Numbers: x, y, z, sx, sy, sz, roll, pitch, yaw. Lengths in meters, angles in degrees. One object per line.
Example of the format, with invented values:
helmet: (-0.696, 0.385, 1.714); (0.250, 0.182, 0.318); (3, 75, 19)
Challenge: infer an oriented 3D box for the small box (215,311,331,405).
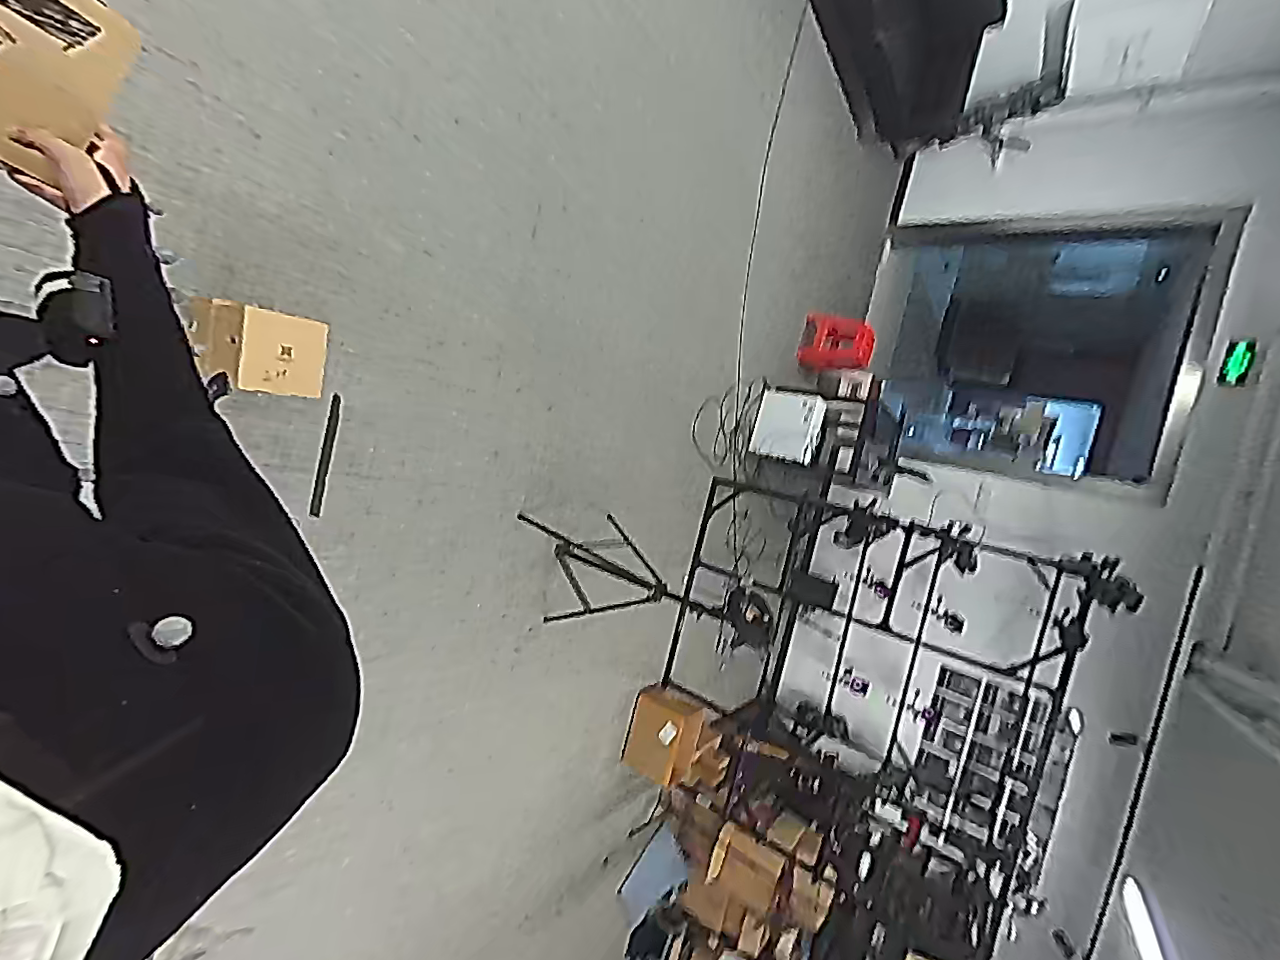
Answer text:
small box: (-0.833, -0.276, 1.226); (0.168, 0.176, 0.179); (3, 99, -55)

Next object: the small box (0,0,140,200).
small box: (-0.613, -0.390, 0.477); (0.179, 0.176, 0.168); (-66, 158, -2)

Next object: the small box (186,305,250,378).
small box: (-0.963, -0.323, 1.317); (0.179, 0.176, 0.168); (5, 98, -54)
